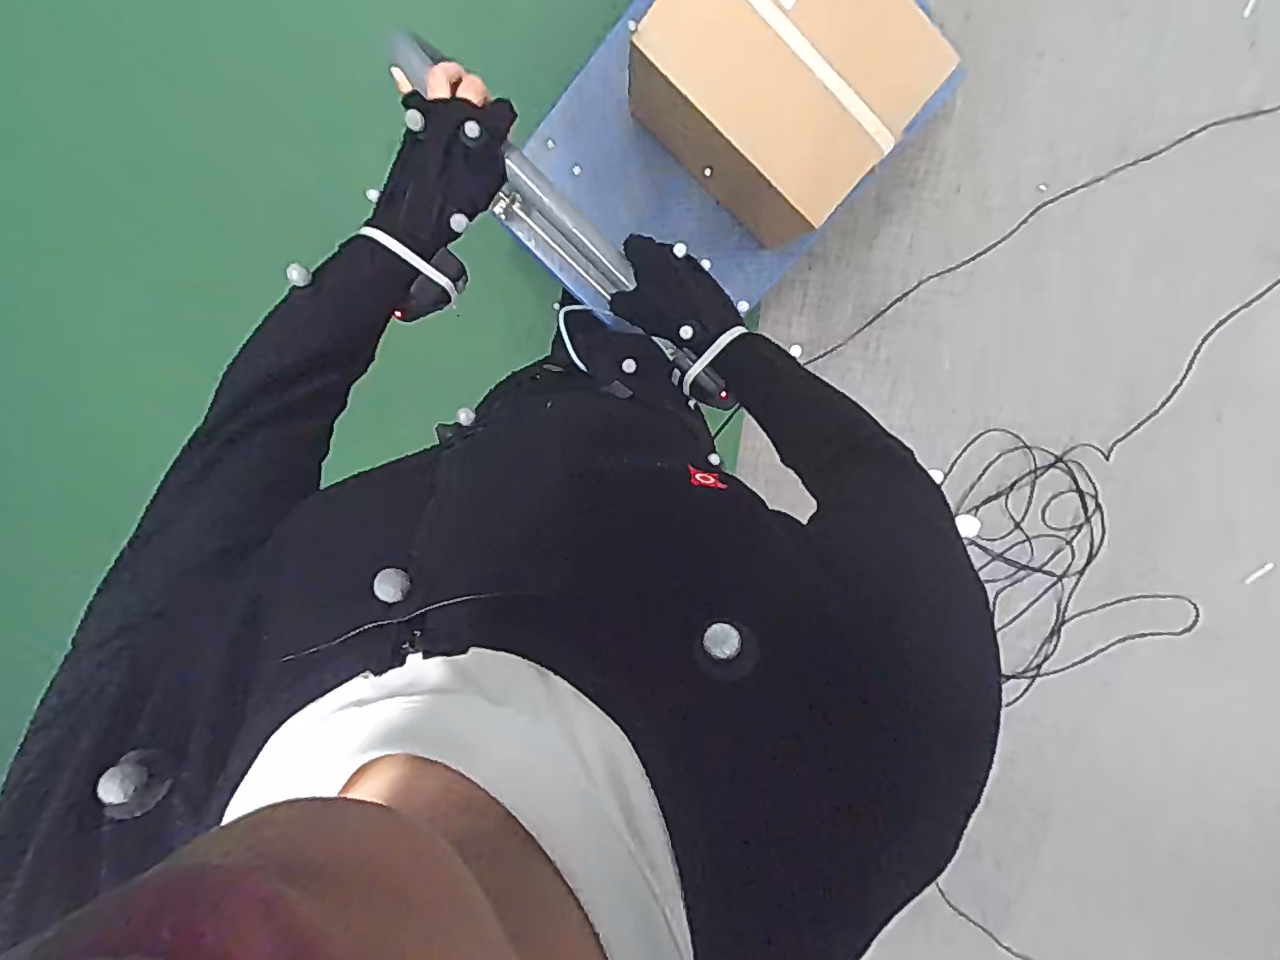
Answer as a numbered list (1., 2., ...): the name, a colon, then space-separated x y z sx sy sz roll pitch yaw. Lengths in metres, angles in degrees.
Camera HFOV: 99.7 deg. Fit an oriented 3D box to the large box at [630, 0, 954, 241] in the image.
1. large box: 0.231 -0.697 0.956 0.408 0.320 0.320 39 102 -12
